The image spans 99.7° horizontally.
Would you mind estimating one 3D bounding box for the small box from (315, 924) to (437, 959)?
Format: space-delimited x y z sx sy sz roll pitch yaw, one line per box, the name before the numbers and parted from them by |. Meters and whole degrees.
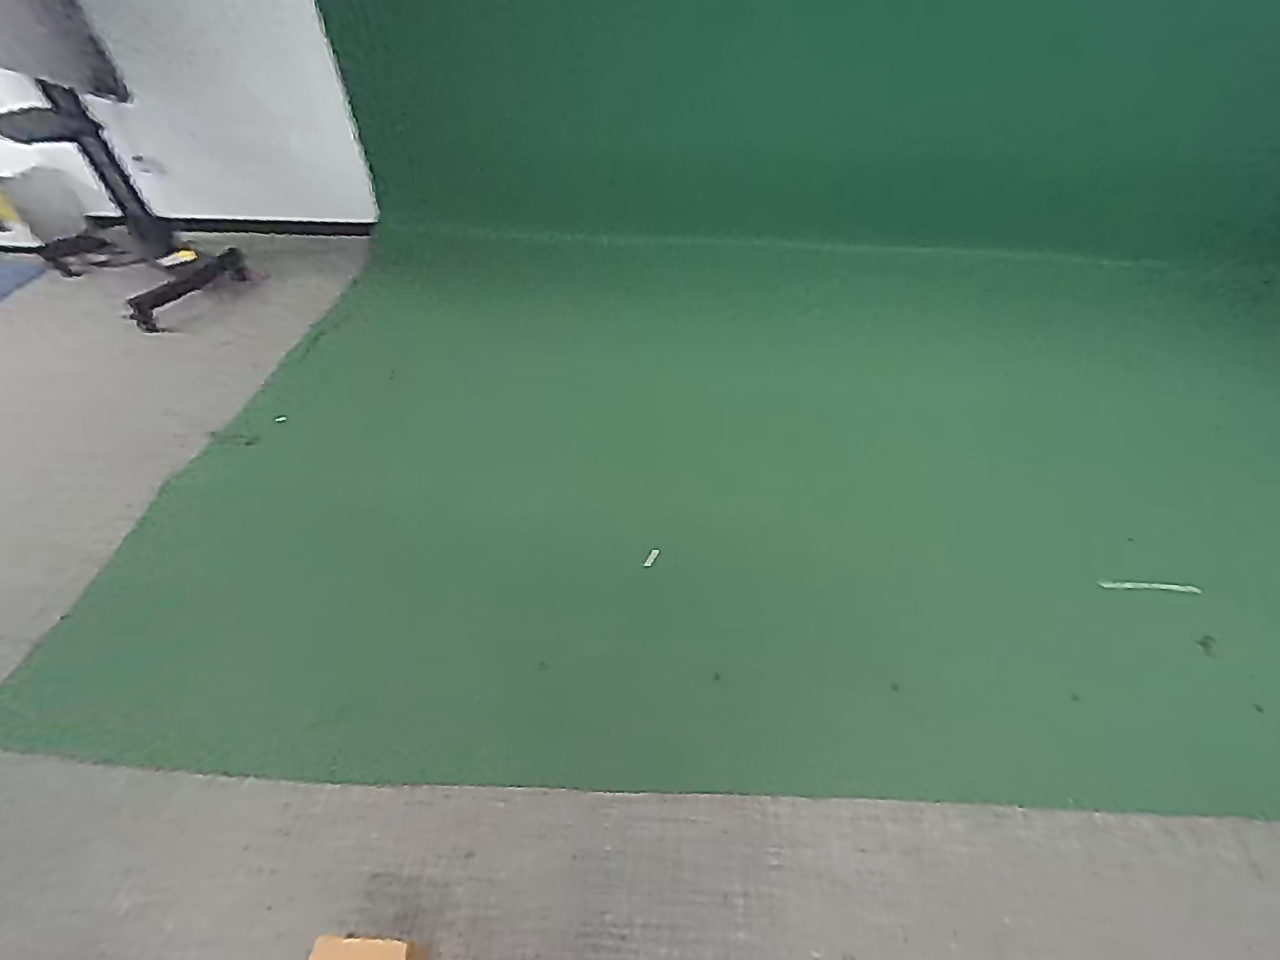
small box | -0.511 0.962 1.025 0.179 0.176 0.168 3 48 1
